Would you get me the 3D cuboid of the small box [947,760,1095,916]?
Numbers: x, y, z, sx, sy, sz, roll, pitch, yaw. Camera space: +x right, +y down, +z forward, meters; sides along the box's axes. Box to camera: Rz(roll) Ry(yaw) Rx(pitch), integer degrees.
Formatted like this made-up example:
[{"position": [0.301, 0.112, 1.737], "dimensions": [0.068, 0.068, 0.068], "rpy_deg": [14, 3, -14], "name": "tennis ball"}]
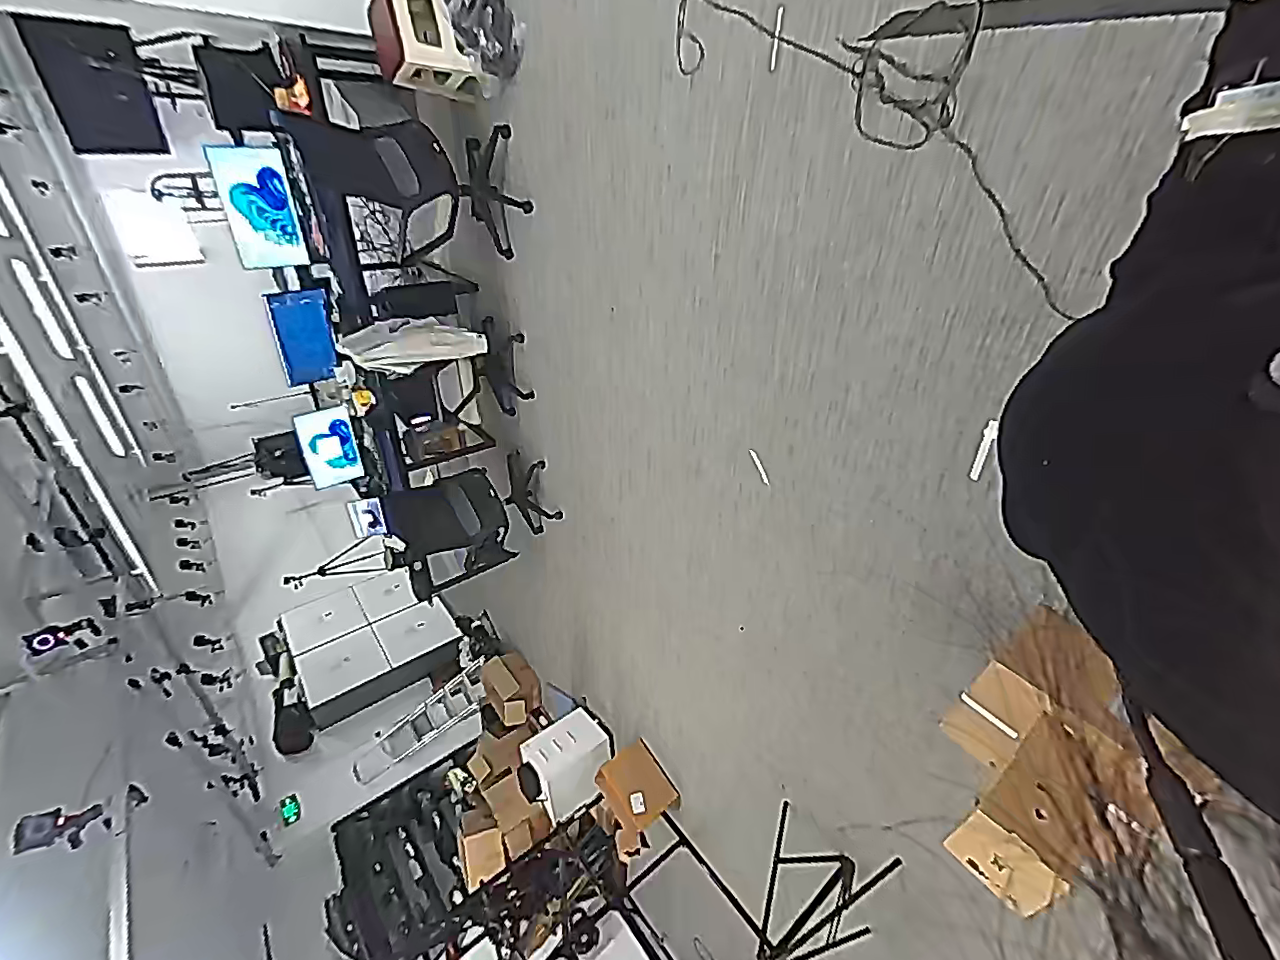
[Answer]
[{"position": [0.766, 0.707, 1.085], "dimensions": [0.168, 0.176, 0.179], "rpy_deg": [39, 136, 37], "name": "small box"}]
